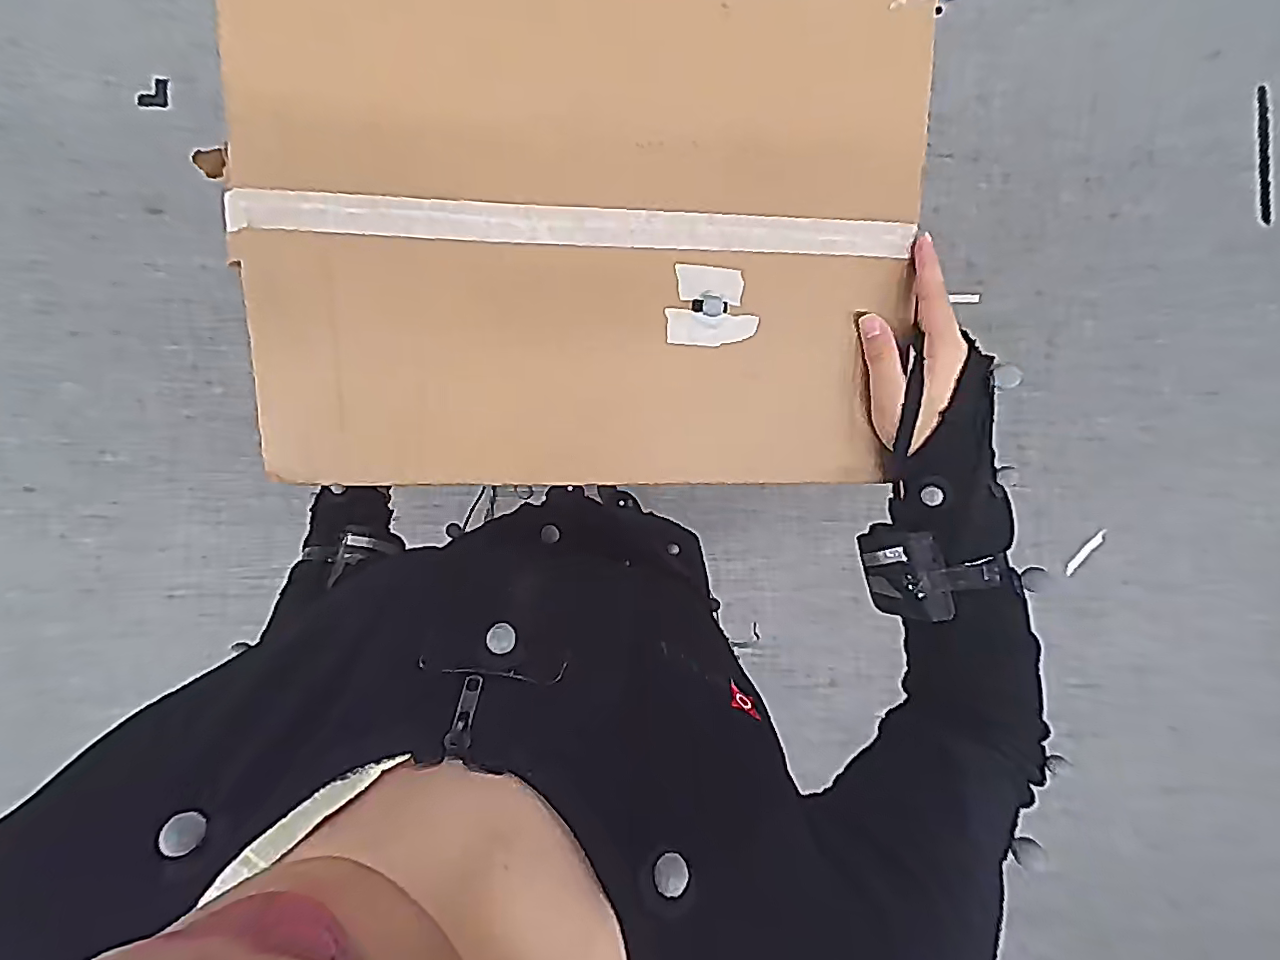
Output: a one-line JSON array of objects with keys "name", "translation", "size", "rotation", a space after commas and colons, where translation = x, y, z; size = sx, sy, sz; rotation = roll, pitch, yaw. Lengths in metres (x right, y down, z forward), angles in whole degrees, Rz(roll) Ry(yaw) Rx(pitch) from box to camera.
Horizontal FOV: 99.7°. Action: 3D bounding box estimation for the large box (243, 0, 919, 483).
[{"name": "large box", "translation": [-0.041, -0.178, 0.482], "size": [0.408, 0.320, 0.320], "rotation": [-1, 100, -8]}]
